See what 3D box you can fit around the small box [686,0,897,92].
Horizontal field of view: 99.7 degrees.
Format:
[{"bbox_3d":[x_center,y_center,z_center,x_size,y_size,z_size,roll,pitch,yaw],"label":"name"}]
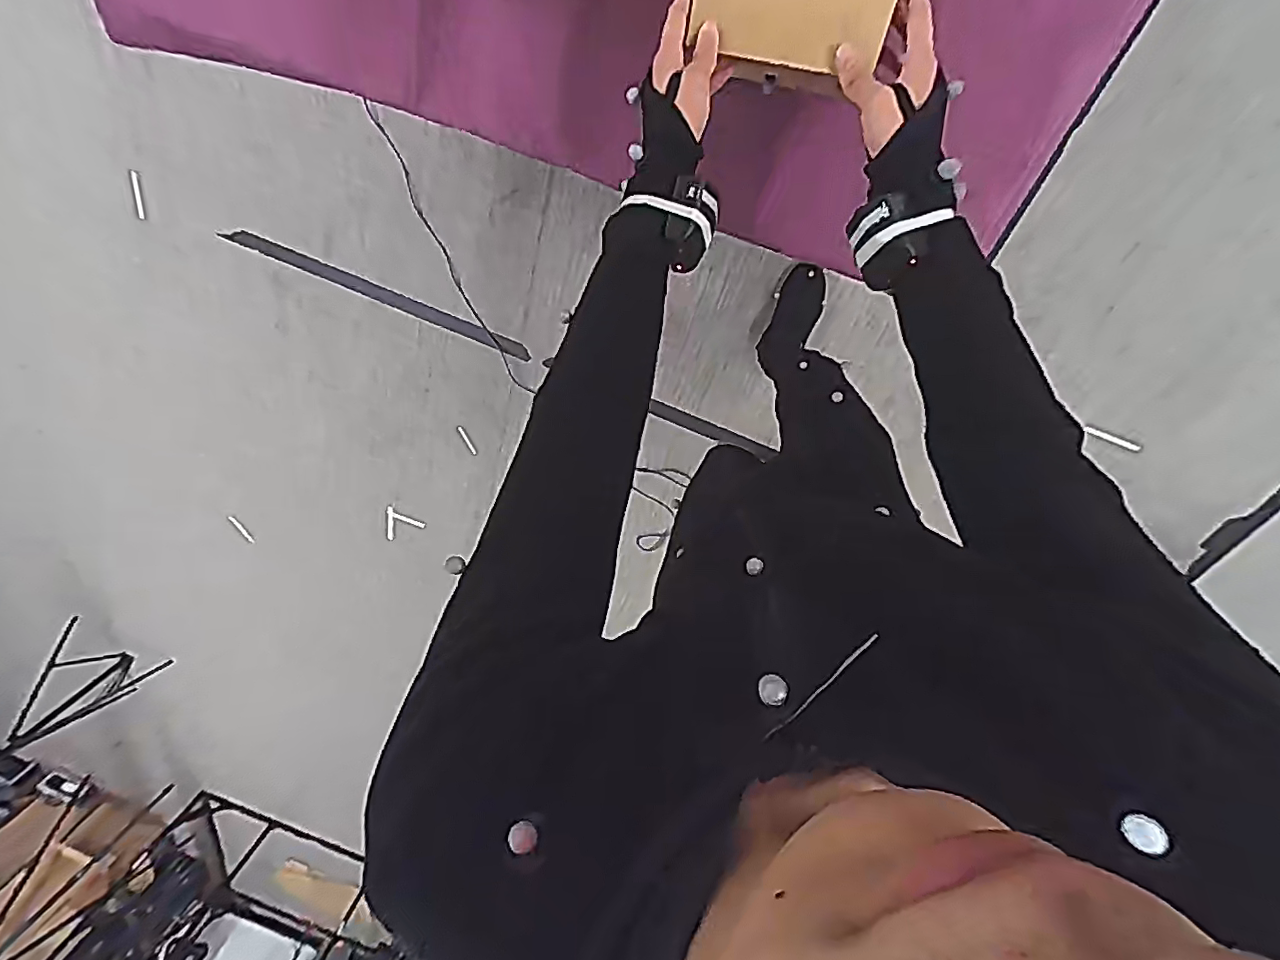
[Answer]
[{"bbox_3d":[0.148,-0.467,0.479,0.168,0.176,0.179,15,123,4],"label":"small box"}]
